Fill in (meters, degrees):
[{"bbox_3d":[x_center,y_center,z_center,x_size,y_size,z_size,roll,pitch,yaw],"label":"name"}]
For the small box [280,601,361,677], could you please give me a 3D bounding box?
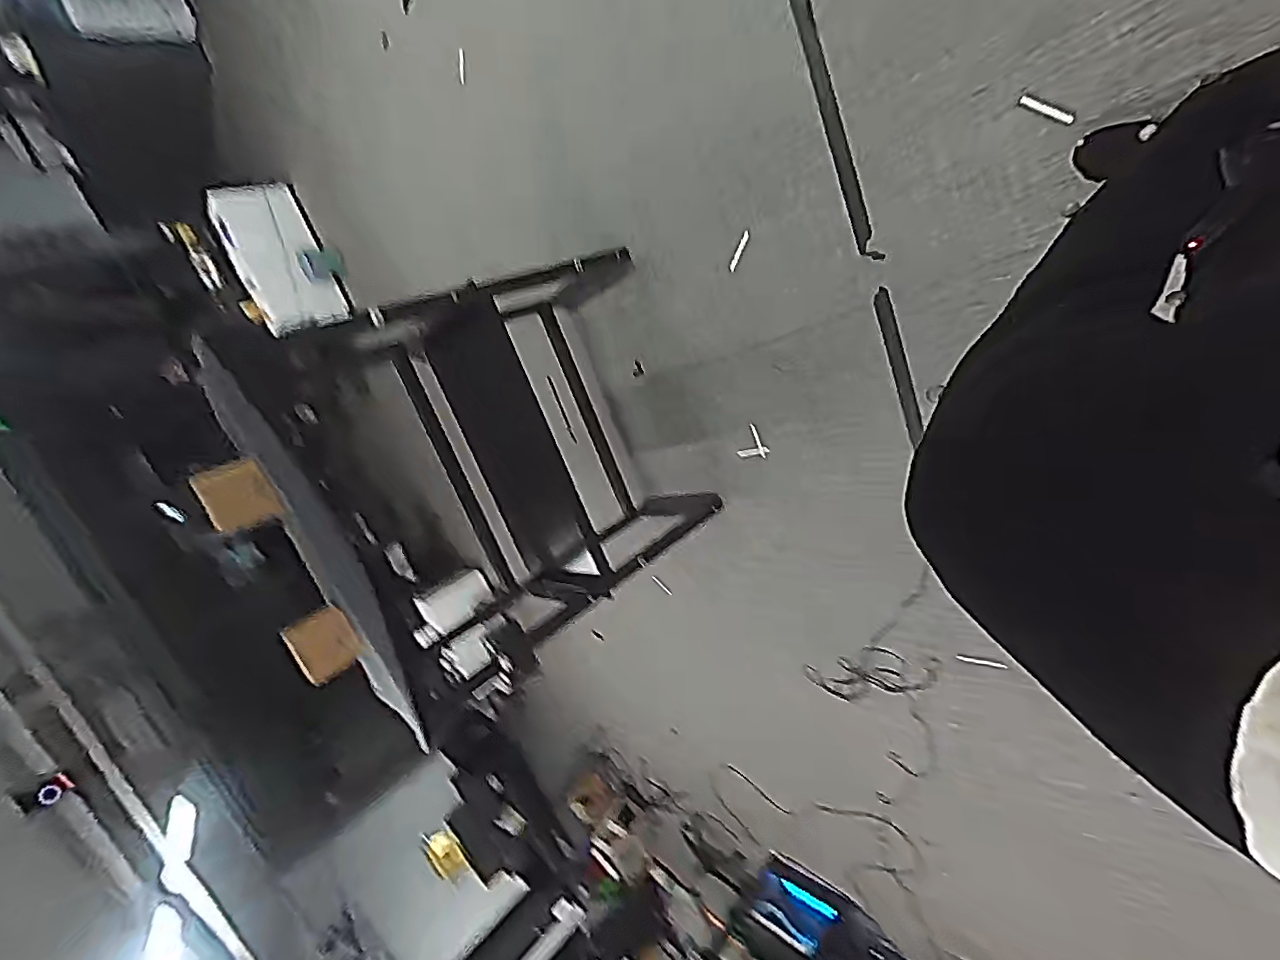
[{"bbox_3d":[-1.040,0.511,1.766,0.179,0.176,0.168,-9,108,51],"label":"small box"}]
